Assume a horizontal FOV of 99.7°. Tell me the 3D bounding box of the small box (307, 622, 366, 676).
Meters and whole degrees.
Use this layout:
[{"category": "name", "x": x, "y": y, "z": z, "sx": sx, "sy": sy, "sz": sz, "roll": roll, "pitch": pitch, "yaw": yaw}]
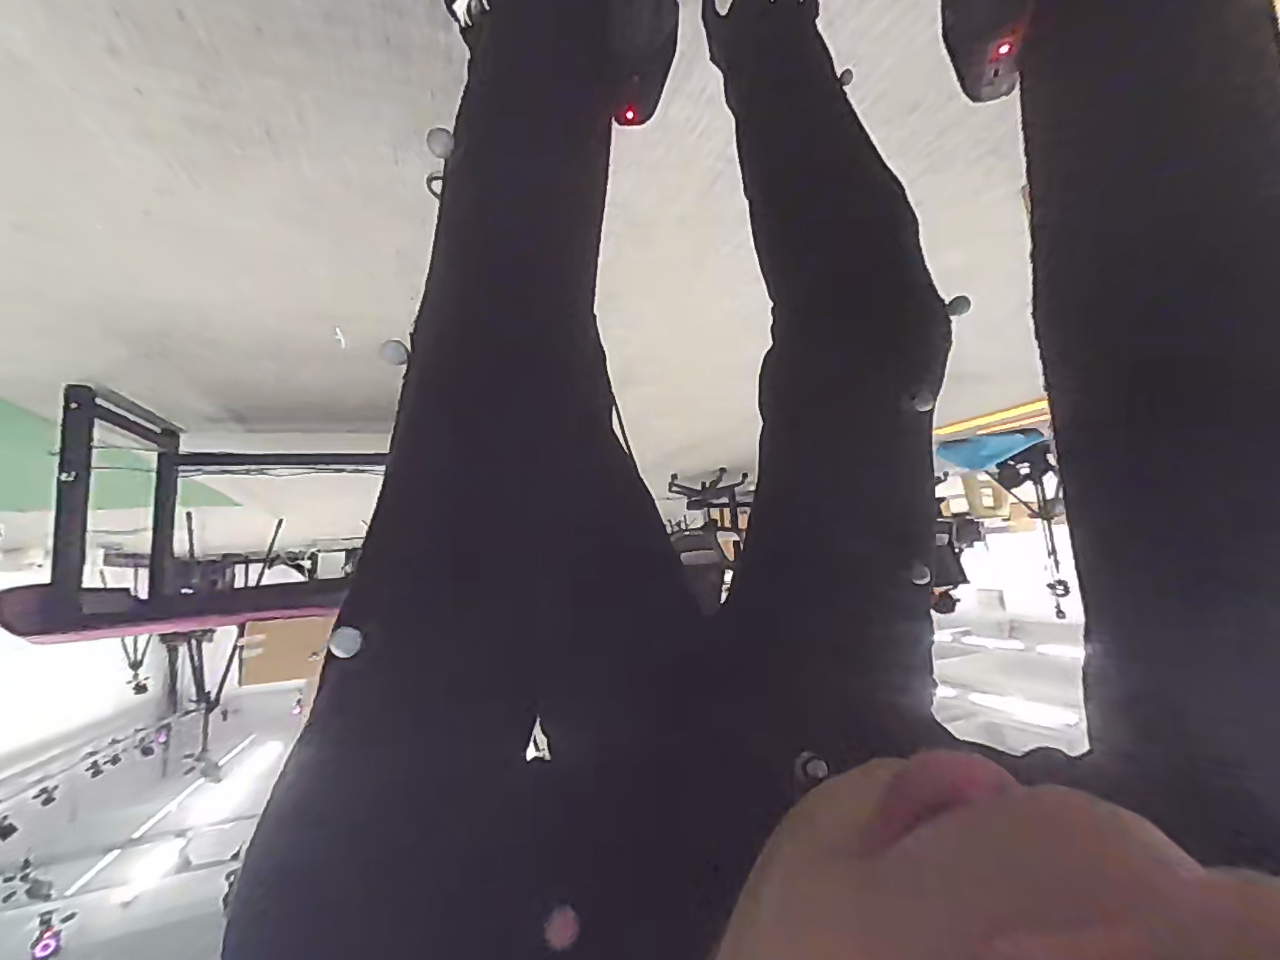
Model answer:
[{"category": "small box", "x": -1.131, "y": 0.626, "z": 2.024, "sx": 0.168, "sy": 0.176, "sz": 0.179, "roll": 0, "pitch": 168, "yaw": -20}]
